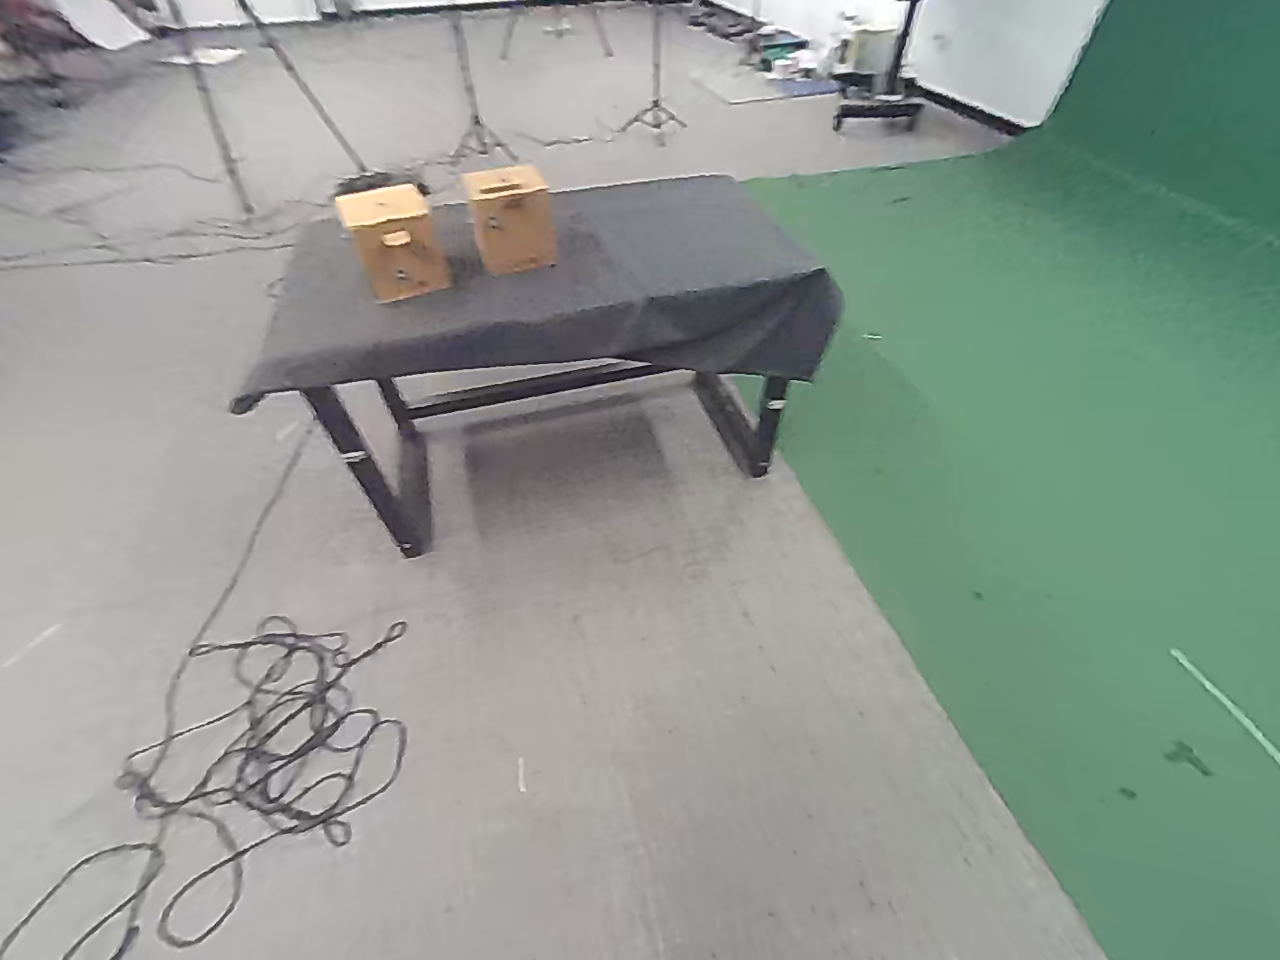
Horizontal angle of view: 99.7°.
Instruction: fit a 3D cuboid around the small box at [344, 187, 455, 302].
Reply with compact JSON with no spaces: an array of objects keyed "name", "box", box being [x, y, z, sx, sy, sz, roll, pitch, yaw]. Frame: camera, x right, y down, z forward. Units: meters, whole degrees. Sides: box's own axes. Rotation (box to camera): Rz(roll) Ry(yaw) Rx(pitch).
[{"name":"small box","box":[-0.526,-0.517,1.189,0.168,0.176,0.179,-21,52,-18]}]
